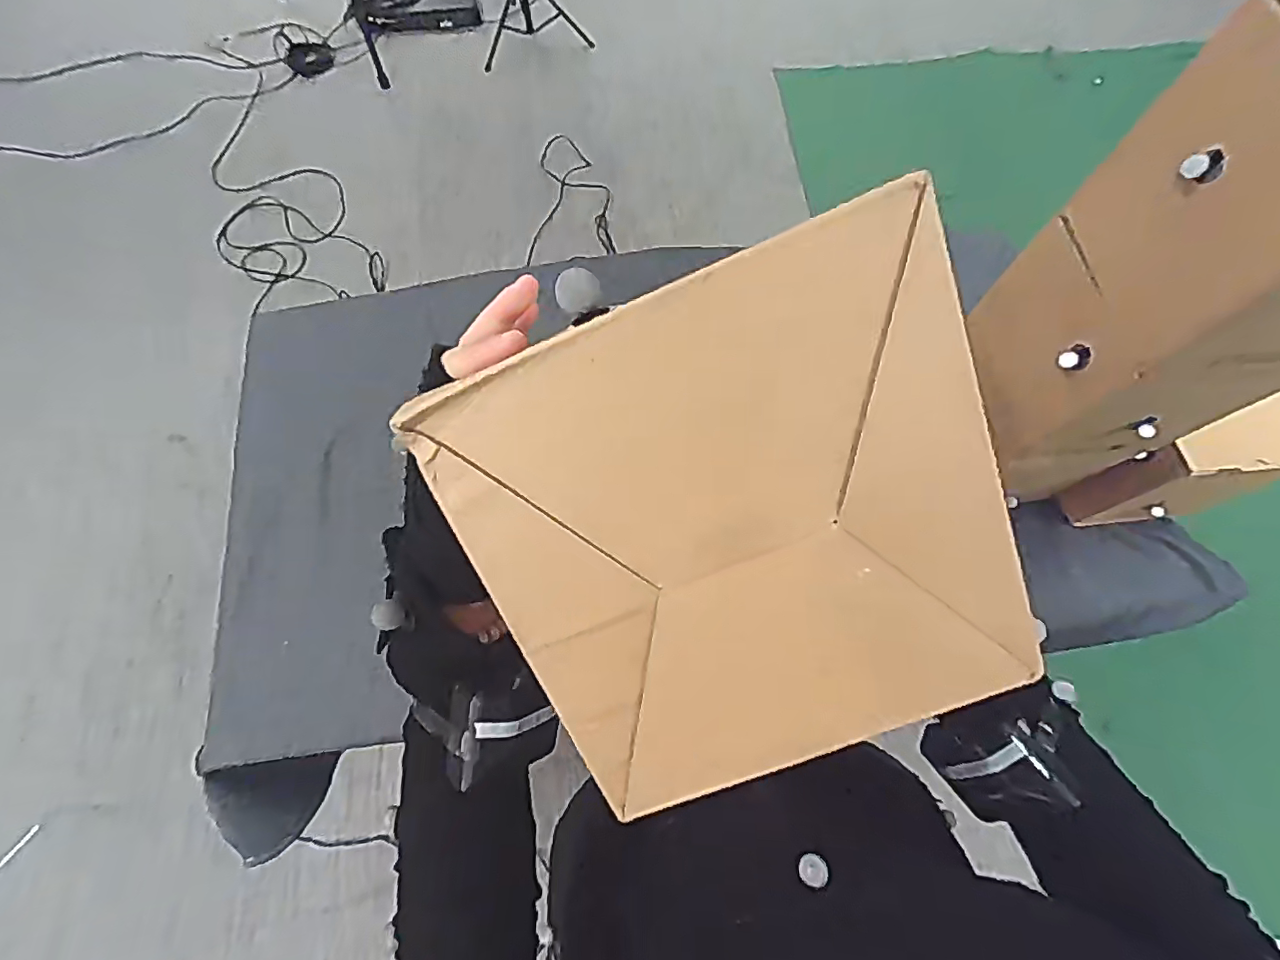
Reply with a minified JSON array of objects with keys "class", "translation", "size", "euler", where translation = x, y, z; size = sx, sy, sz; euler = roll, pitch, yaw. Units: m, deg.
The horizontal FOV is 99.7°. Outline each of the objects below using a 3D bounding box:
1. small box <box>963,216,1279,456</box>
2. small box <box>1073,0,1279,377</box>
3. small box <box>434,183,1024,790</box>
[{"class":"small box","translation":[0.459,-0.132,0.529],"size":[0.168,0.176,0.179],"euler":[-5,68,-2]},{"class":"small box","translation":[0.459,-0.192,0.375],"size":[0.168,0.176,0.179],"euler":[-3,67,-1]},{"class":"small box","translation":[0.034,-0.001,0.252],"size":[0.168,0.176,0.179],"euler":[-23,107,5]}]
